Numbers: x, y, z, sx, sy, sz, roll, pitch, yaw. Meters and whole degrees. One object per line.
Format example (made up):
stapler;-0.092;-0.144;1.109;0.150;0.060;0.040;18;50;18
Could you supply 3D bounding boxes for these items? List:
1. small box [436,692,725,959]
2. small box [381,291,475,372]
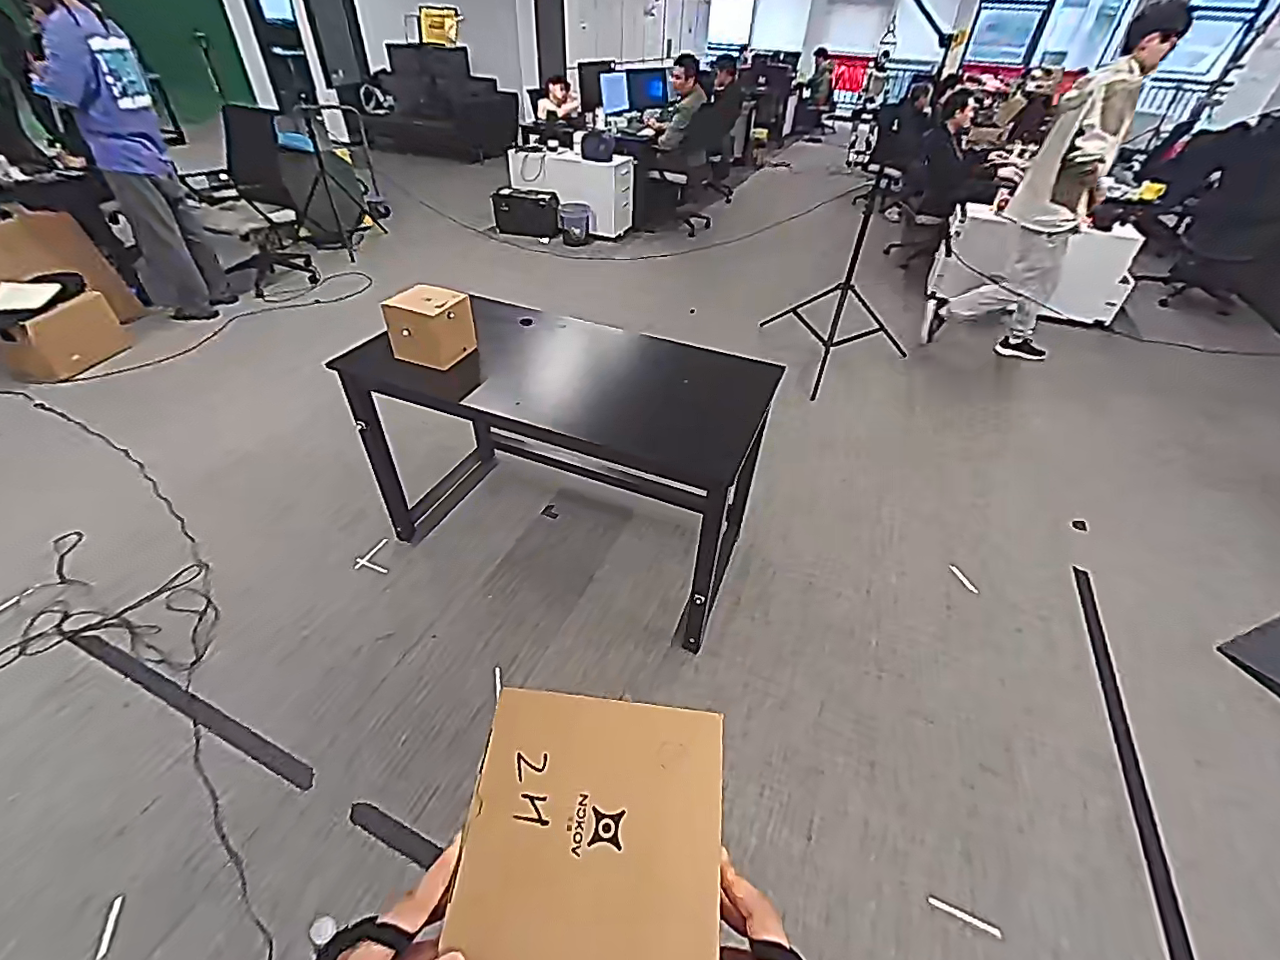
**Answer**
small box;-0.033;0.286;0.435;0.179;0.176;0.168;6;54;2
small box;-0.607;-0.430;1.569;0.179;0.176;0.168;15;42;15
